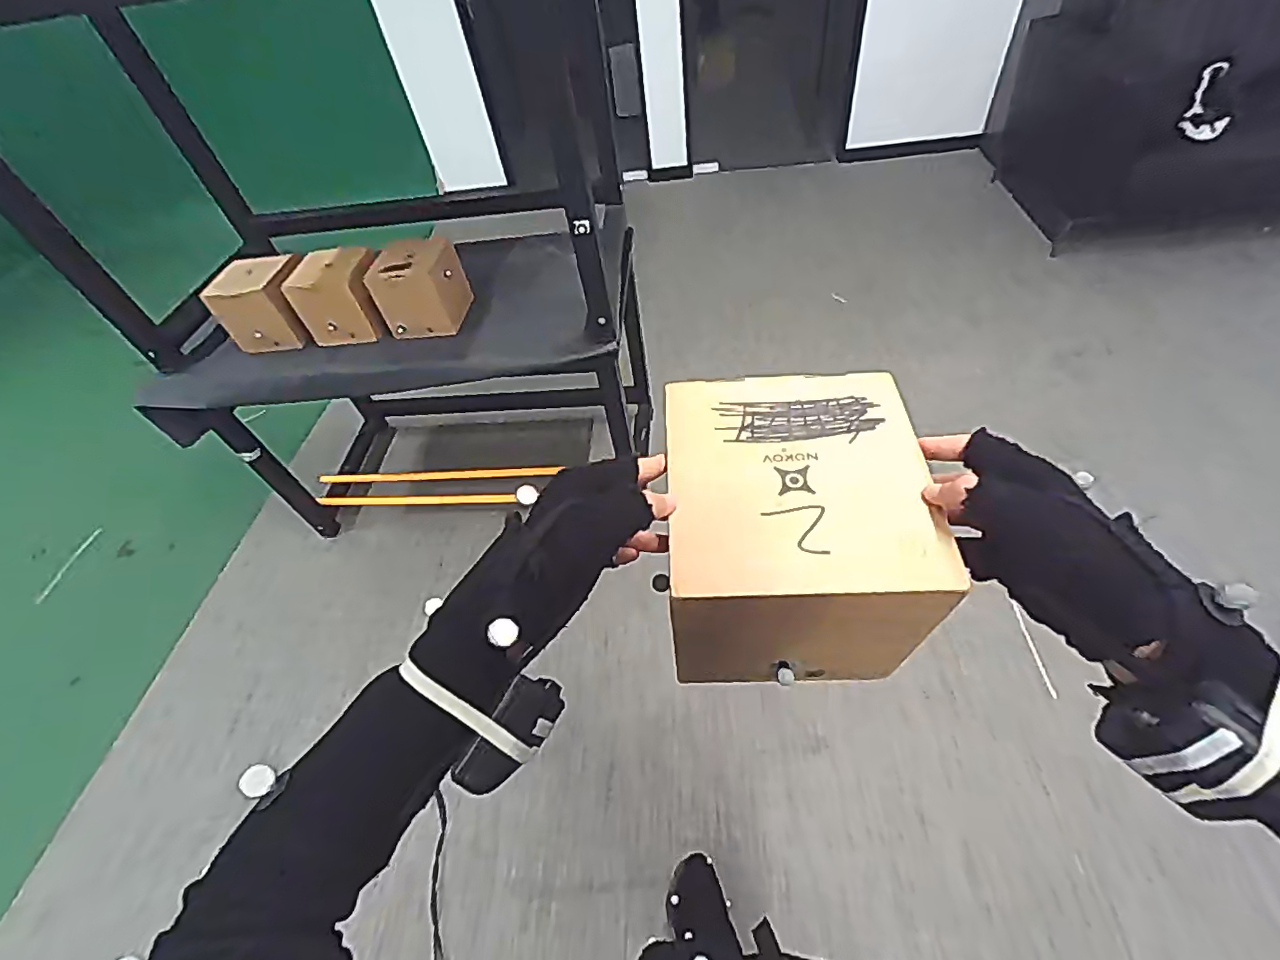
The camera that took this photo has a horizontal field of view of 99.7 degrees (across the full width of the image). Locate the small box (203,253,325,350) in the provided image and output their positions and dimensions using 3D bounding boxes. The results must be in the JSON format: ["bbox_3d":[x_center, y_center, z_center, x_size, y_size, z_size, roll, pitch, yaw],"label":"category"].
[{"bbox_3d":[-0.953,-0.458,1.395,0.168,0.176,0.179,-4,50,6],"label":"small box"}]
